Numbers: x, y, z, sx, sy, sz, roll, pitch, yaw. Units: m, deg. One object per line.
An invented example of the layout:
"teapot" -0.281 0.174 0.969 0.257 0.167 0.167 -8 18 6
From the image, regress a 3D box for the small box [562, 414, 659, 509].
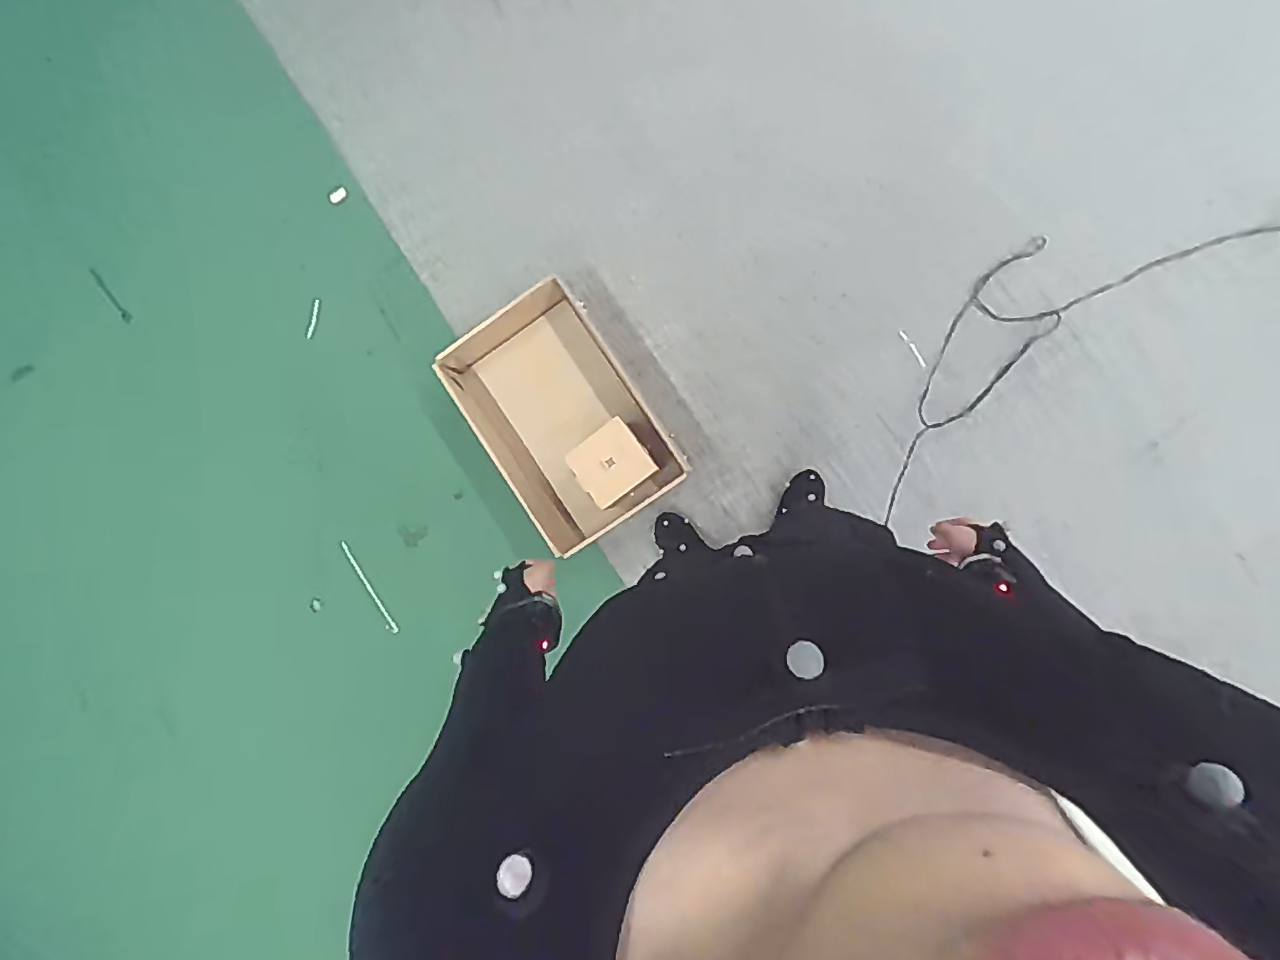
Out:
"small box" -0.066 -0.043 1.377 0.179 0.176 0.168 -37 86 4
